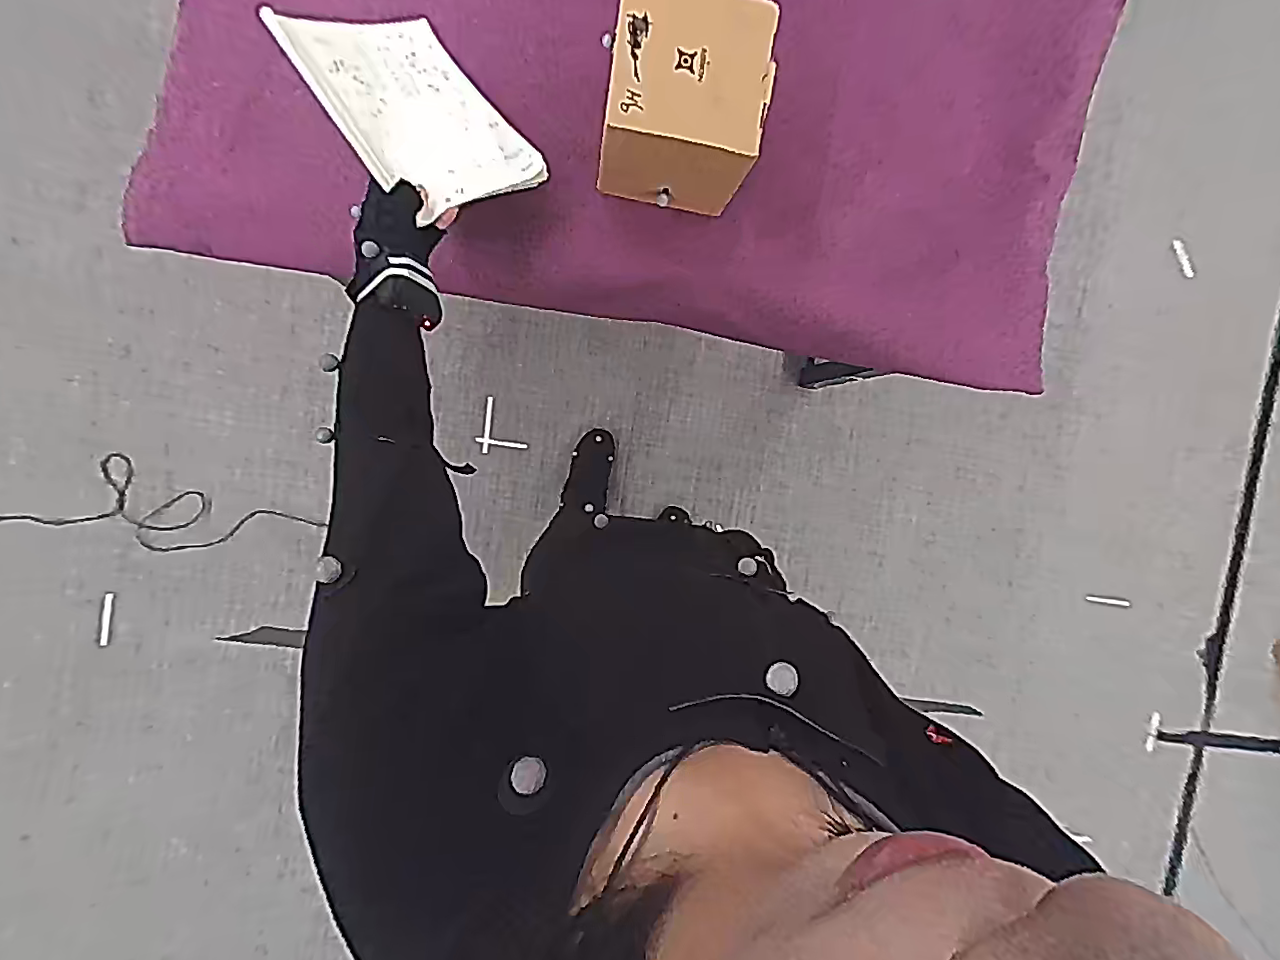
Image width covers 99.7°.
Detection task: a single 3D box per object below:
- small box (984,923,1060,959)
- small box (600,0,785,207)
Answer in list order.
[{"bbox_3d":[1.218,1.549,1.686,0.168,0.176,0.179,-14,95,-6],"label":"small box"},{"bbox_3d":[0.052,-0.459,0.659,0.179,0.176,0.168,8,93,-8],"label":"small box"}]
